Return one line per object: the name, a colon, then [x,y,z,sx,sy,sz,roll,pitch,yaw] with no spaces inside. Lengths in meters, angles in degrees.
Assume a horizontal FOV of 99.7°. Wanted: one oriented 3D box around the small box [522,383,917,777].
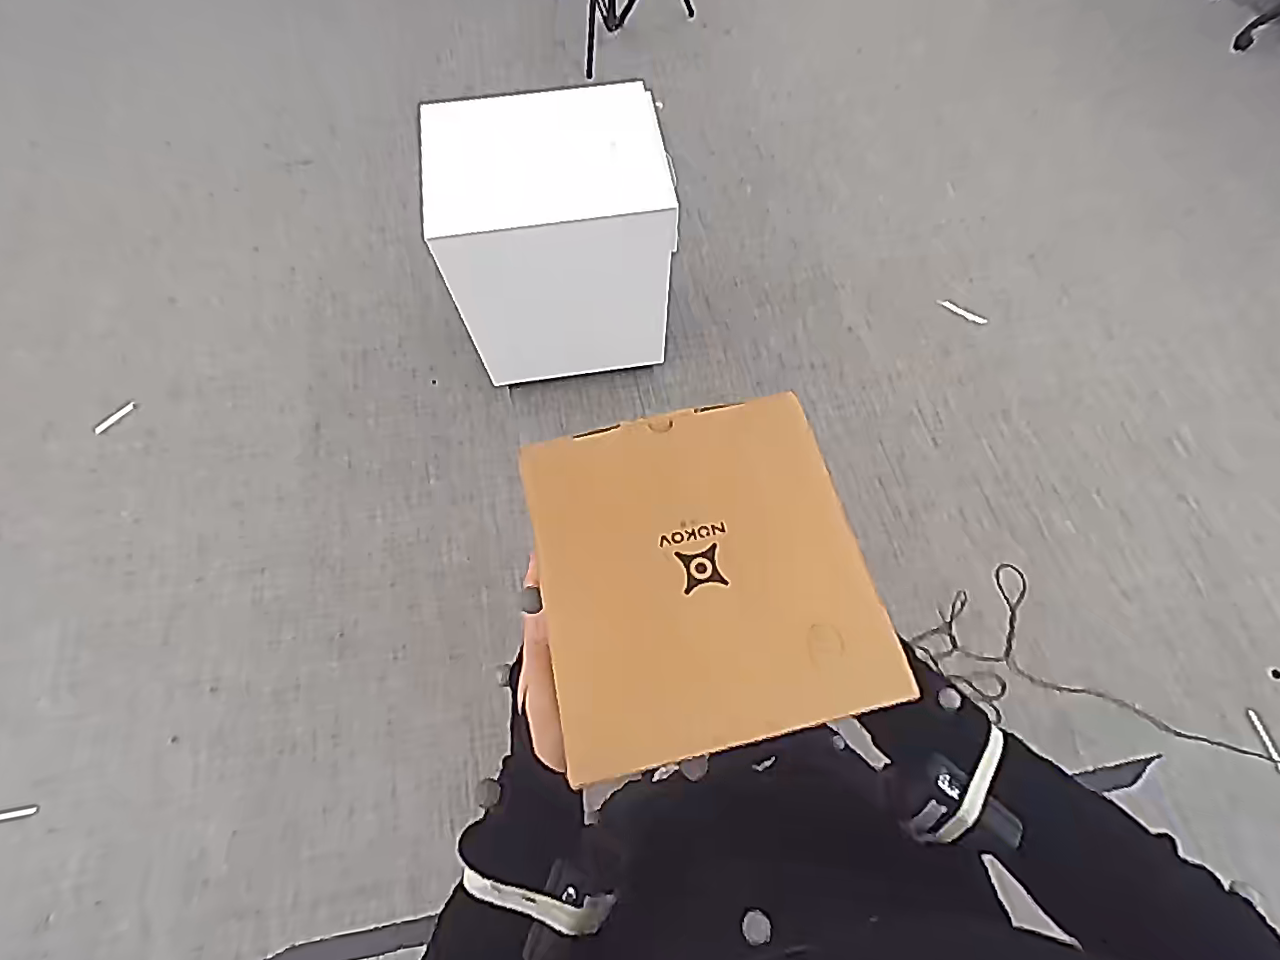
small box: [0.032,0.069,0.347,0.168,0.176,0.179,-12,65,-5]
